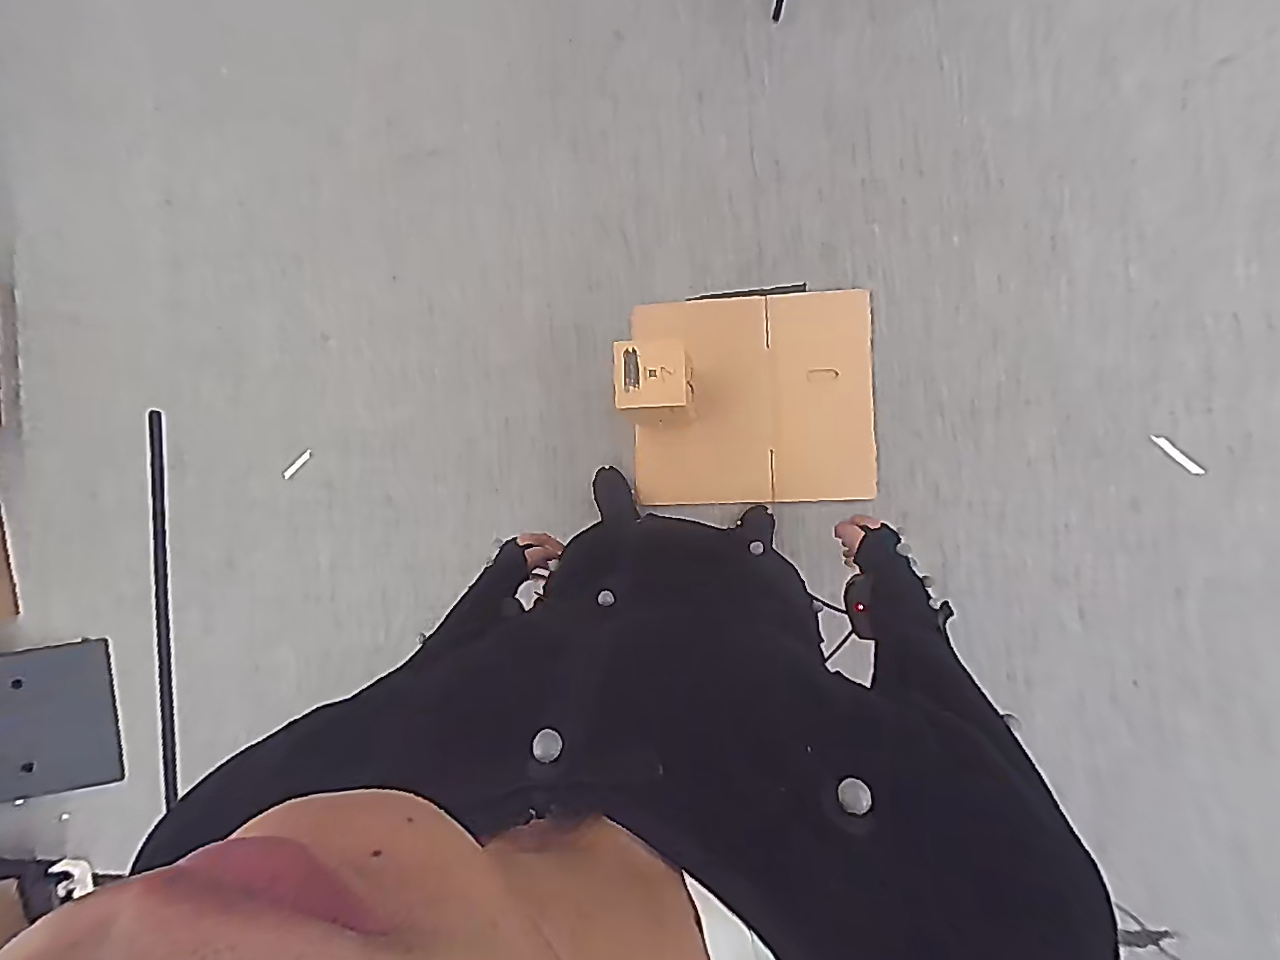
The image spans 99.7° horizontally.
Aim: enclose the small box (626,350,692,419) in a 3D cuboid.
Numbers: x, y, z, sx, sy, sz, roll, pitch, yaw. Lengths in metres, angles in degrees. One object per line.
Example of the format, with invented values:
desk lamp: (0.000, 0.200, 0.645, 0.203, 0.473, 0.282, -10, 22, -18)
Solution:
small box: (0.058, -0.268, 1.543, 0.179, 0.176, 0.168, -2, 90, 8)
